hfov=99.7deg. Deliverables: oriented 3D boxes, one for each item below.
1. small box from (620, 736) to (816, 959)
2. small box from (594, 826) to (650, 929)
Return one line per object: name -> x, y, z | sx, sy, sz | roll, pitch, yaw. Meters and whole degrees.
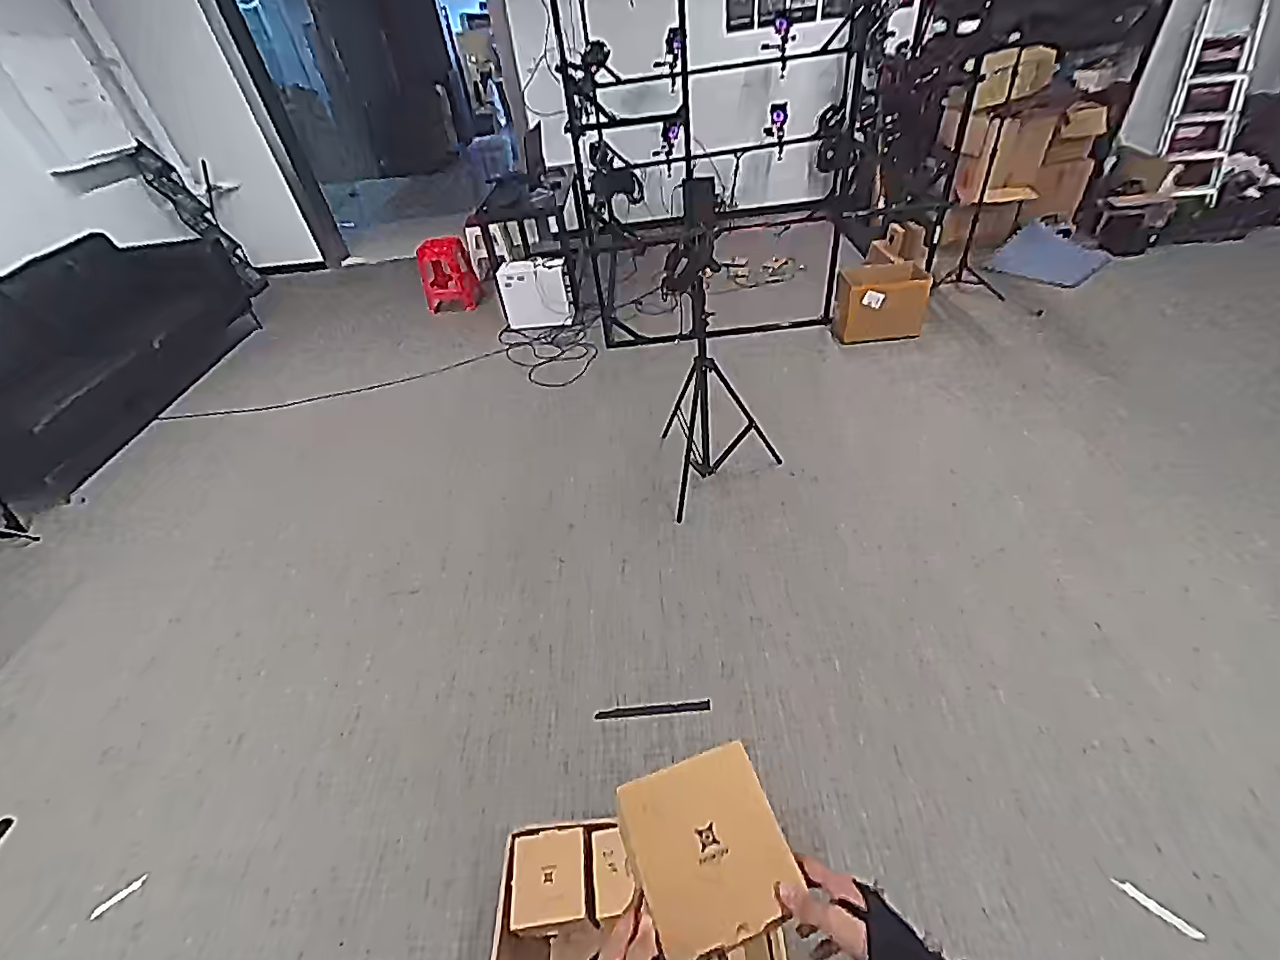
small box -> 0.078, 0.447, 0.650 | 0.168, 0.176, 0.179 | -15, 49, -13
small box -> -0.007, 0.923, 1.264 | 0.179, 0.176, 0.168 | -9, 42, -2
